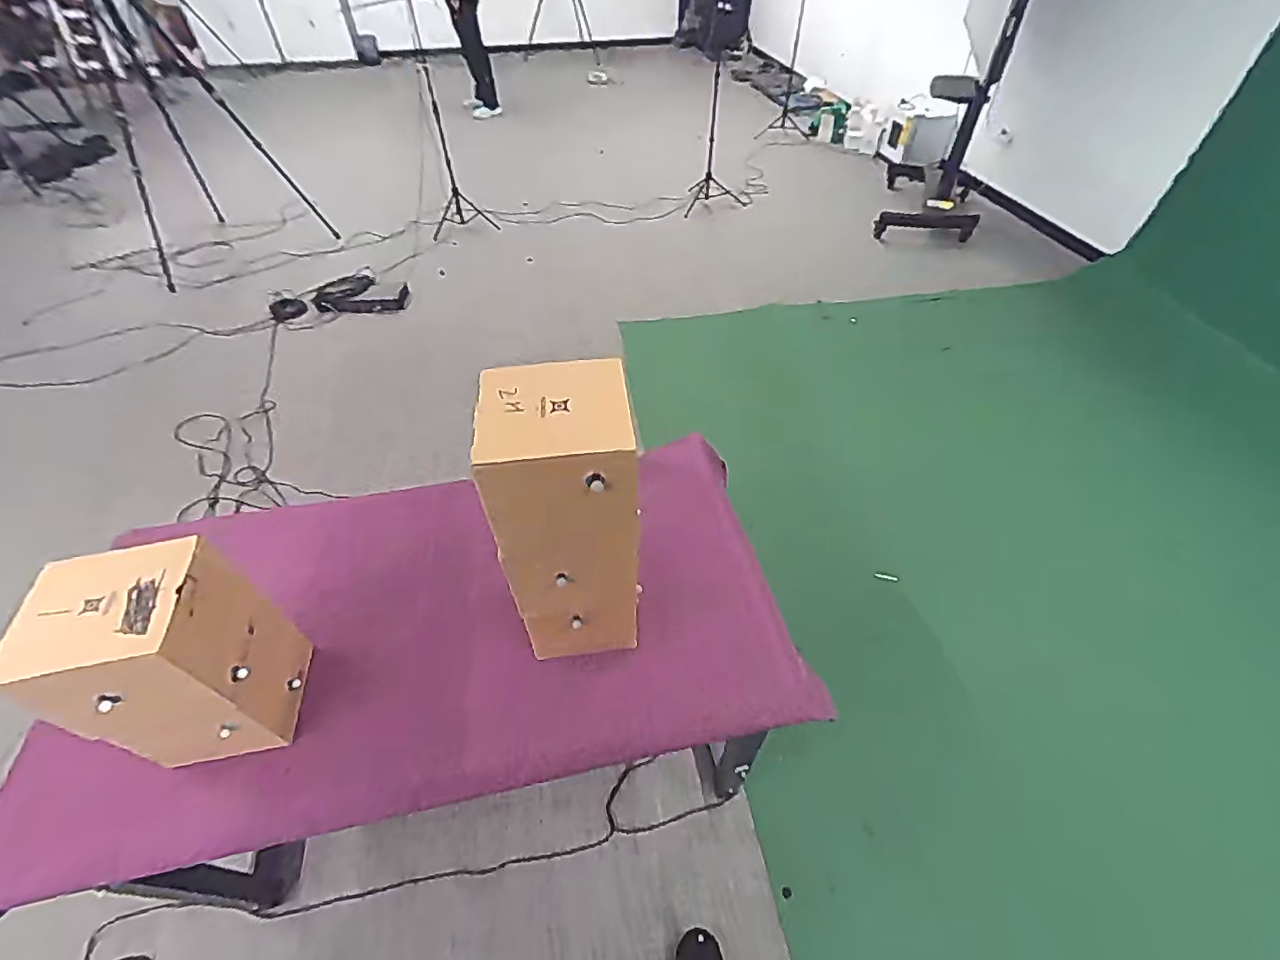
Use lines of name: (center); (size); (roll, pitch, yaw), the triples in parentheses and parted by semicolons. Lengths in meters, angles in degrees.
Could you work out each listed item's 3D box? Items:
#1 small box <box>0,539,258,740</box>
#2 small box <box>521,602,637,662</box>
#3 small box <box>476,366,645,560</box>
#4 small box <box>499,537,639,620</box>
small box: (-0.622, 0.200, 0.677); (0.179, 0.176, 0.168); (-10, 48, -10)
small box: (-0.100, 0.193, 0.920); (0.179, 0.176, 0.168); (-5, 48, -4)
small box: (-0.090, -0.019, 0.668); (0.179, 0.176, 0.168); (-5, 47, -4)
small box: (-0.097, 0.091, 0.792); (0.179, 0.176, 0.168); (-5, 48, -4)
